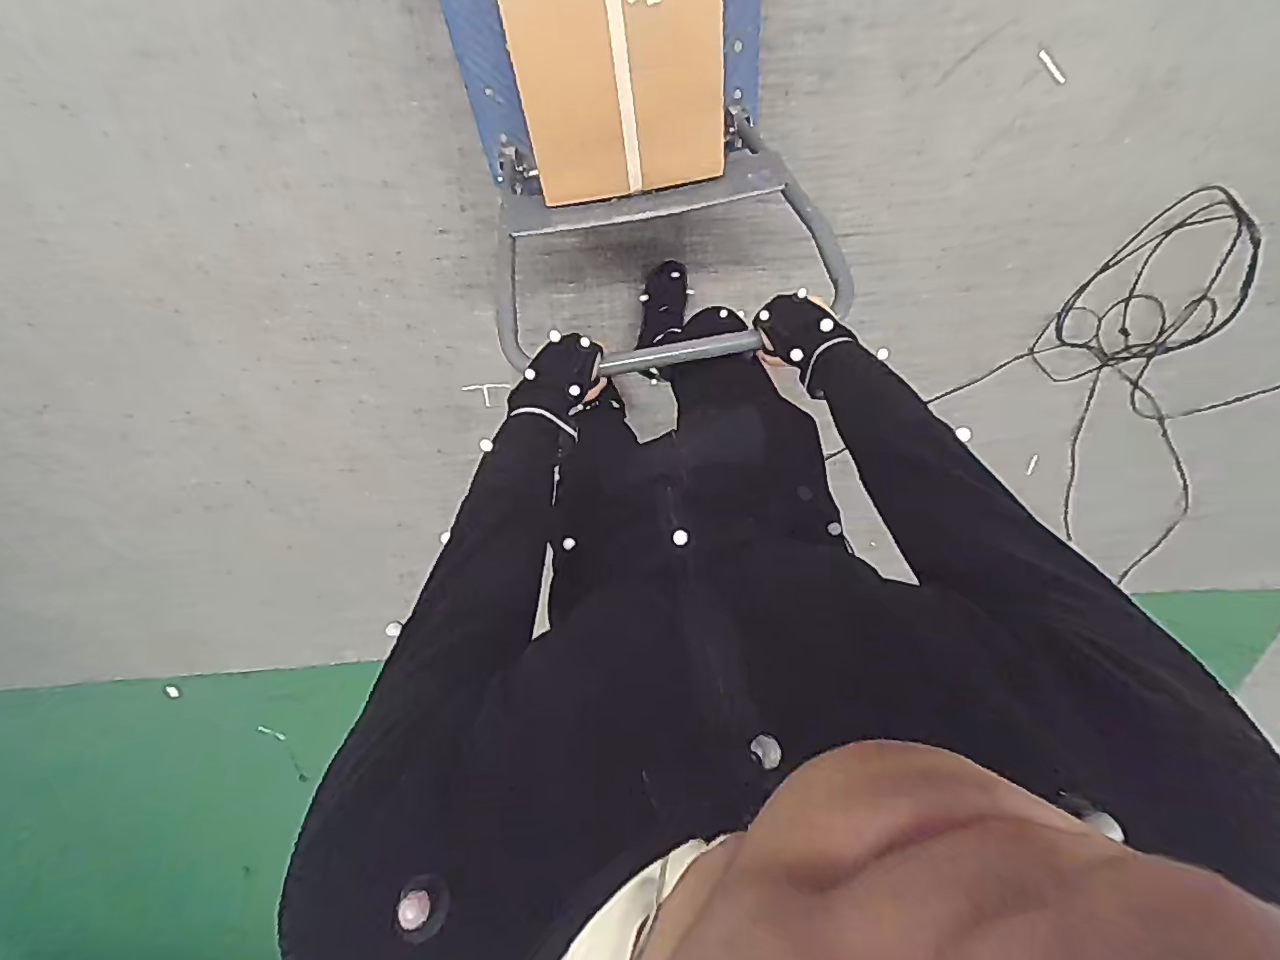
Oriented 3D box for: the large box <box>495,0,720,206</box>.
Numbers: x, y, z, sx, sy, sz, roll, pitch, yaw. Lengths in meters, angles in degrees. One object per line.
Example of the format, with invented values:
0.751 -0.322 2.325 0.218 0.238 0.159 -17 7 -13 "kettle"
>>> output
-0.054 -0.747 0.914 0.320 0.320 0.408 -10 135 1 "large box"
